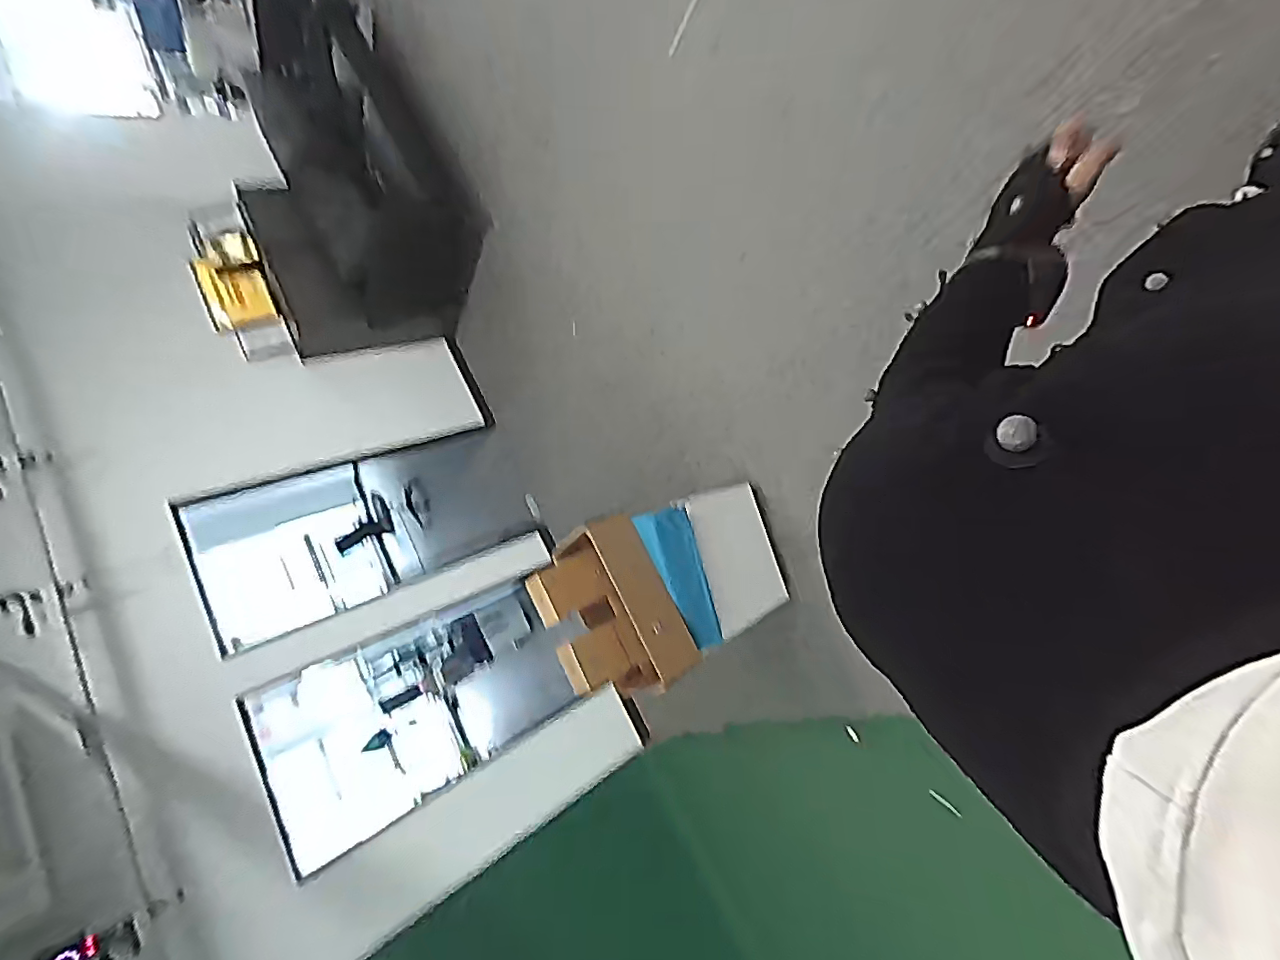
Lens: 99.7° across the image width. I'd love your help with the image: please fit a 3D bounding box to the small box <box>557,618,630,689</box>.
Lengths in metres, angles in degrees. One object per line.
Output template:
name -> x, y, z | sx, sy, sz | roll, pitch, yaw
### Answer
small box -> -0.160, 0.607, 1.890 | 0.179, 0.176, 0.168 | 64, 146, 10
